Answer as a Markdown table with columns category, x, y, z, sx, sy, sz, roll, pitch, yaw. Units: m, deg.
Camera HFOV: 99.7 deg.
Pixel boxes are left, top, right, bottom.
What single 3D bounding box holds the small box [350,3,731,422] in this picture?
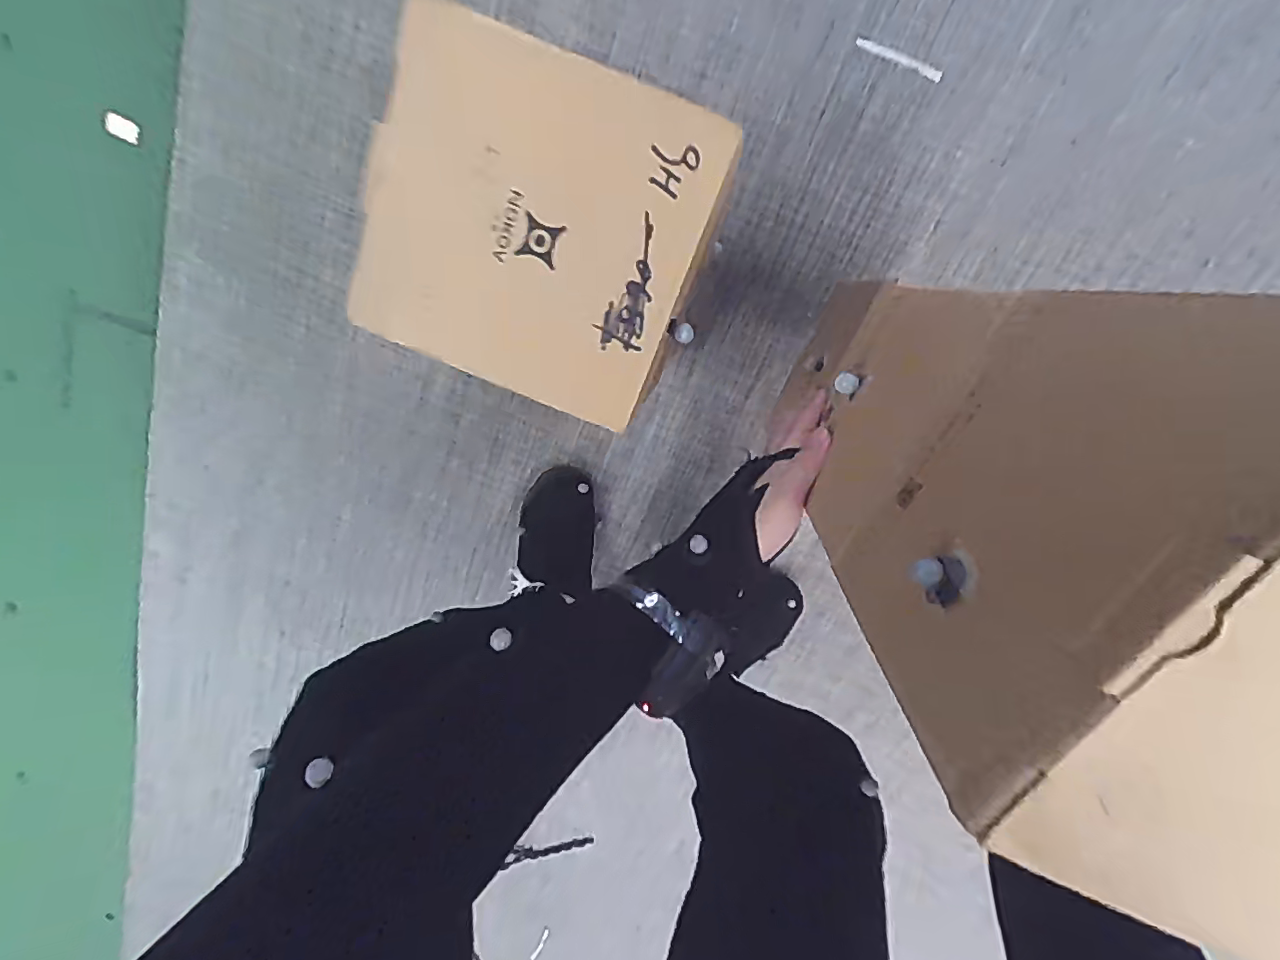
| category | x | y | z | sx | sy | sz | roll | pitch | yaw |
| --- | --- | --- | --- | --- | --- | --- | --- | --- | --- |
| small box | -0.052 | -0.158 | 0.370 | 0.179 | 0.176 | 0.168 | 23 | 109 | 1 |

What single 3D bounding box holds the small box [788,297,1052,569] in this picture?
| category | x | y | z | sx | sy | sz | roll | pitch | yaw |
| --- | --- | --- | --- | --- | --- | --- | --- | --- | --- |
| small box | 0.223 | -0.013 | 0.361 | 0.179 | 0.176 | 0.168 | 25 | 110 | -3 |
